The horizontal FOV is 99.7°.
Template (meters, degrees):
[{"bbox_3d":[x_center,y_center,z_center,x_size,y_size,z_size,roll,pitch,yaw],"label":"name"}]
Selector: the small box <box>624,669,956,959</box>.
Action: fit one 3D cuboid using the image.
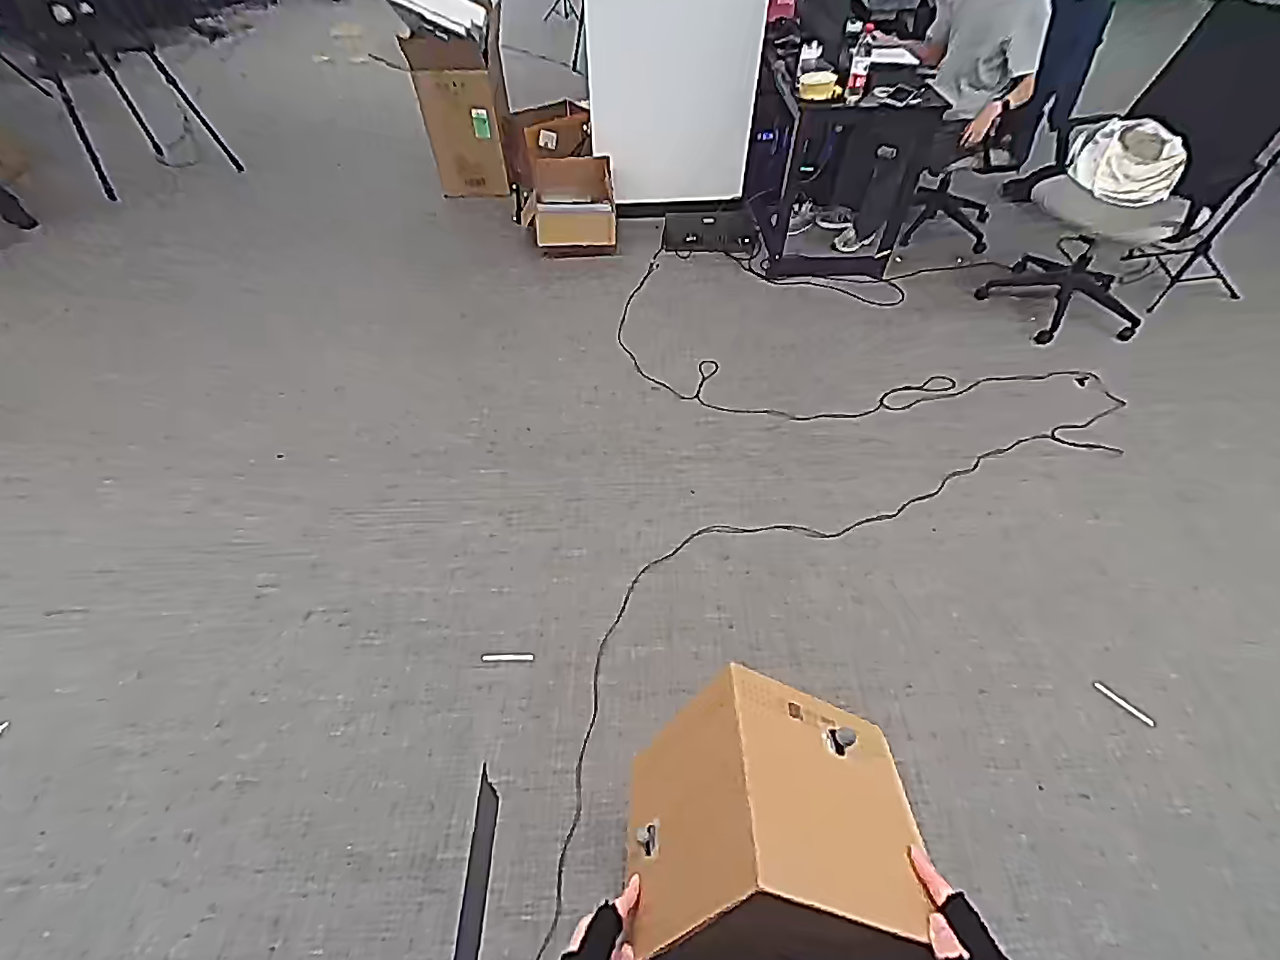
[{"bbox_3d":[0.104,0.295,0.447,0.168,0.179,0.176,27,29,-13],"label":"small box"}]
